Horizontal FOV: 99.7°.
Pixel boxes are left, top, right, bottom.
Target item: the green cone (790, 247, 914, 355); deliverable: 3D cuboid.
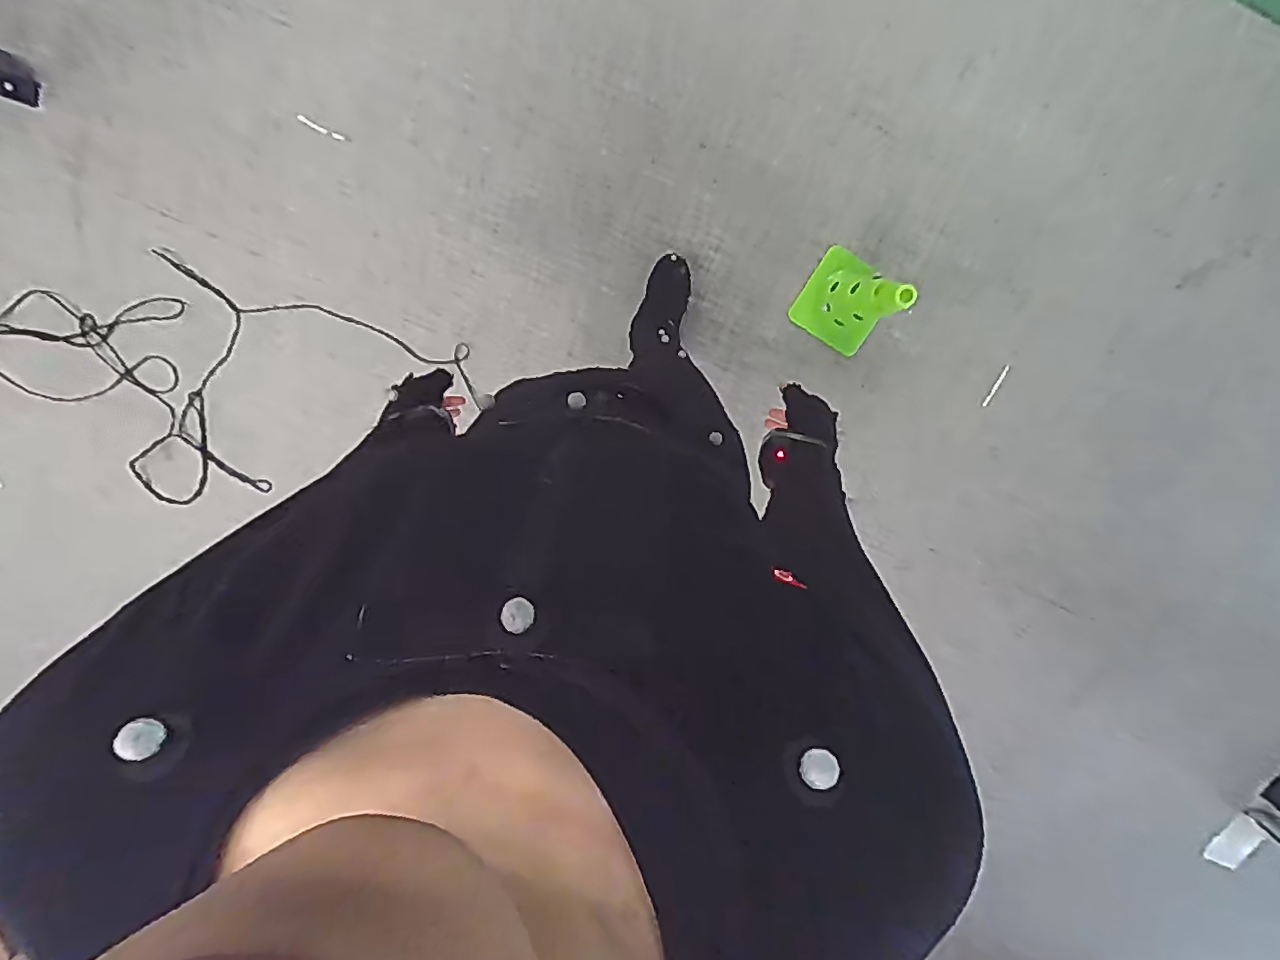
[{"bbox_3d":[0.487,-0.389,1.156,0.200,0.368,0.202,29,105,-6],"label":"green cone"}]
